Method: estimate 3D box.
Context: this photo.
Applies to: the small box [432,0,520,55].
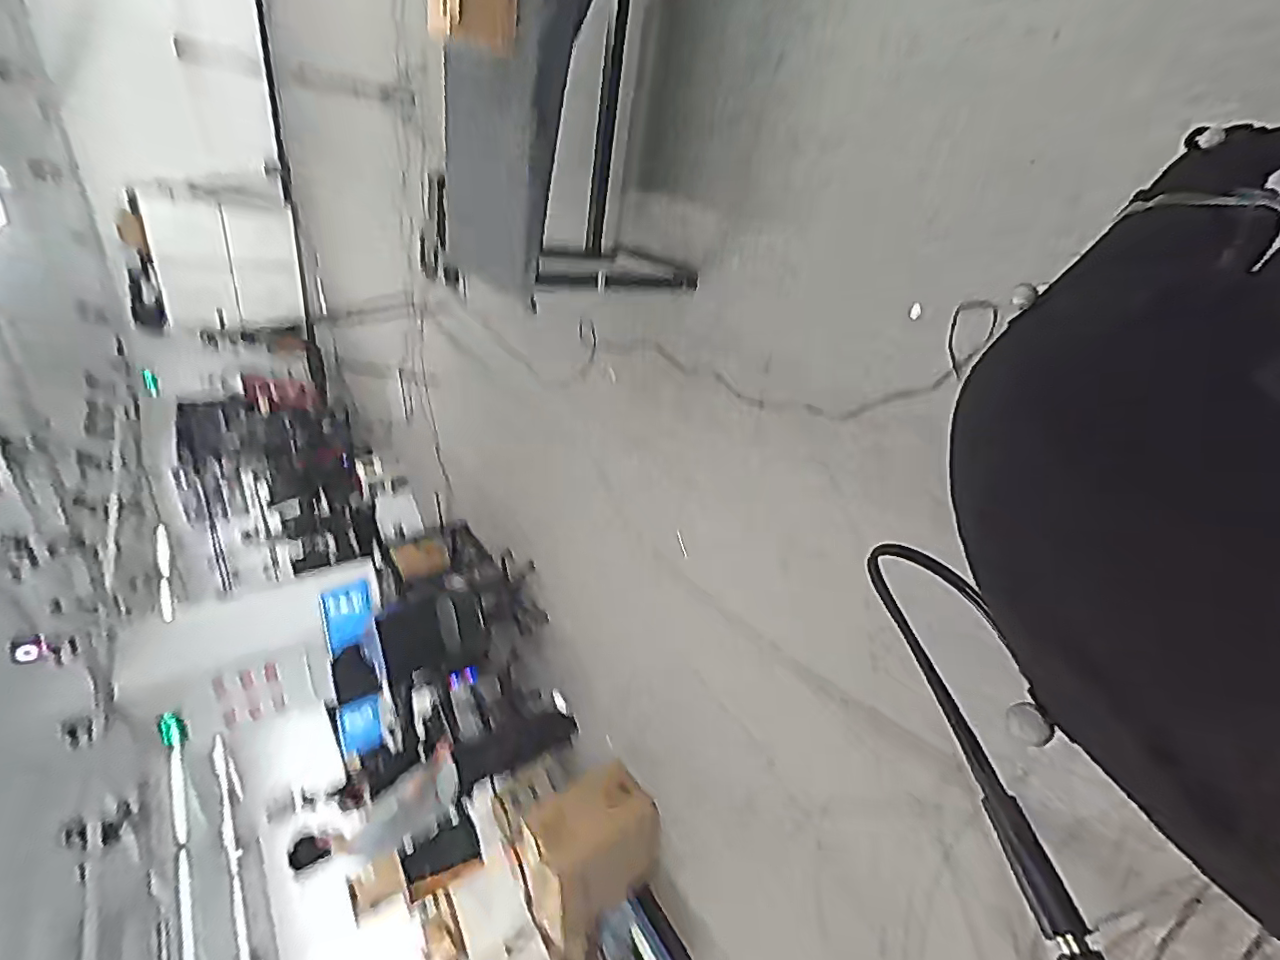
[{"bbox_3d":[-0.414,-1.201,1.368,0.179,0.176,0.168,42,132,40],"label":"small box"}]
